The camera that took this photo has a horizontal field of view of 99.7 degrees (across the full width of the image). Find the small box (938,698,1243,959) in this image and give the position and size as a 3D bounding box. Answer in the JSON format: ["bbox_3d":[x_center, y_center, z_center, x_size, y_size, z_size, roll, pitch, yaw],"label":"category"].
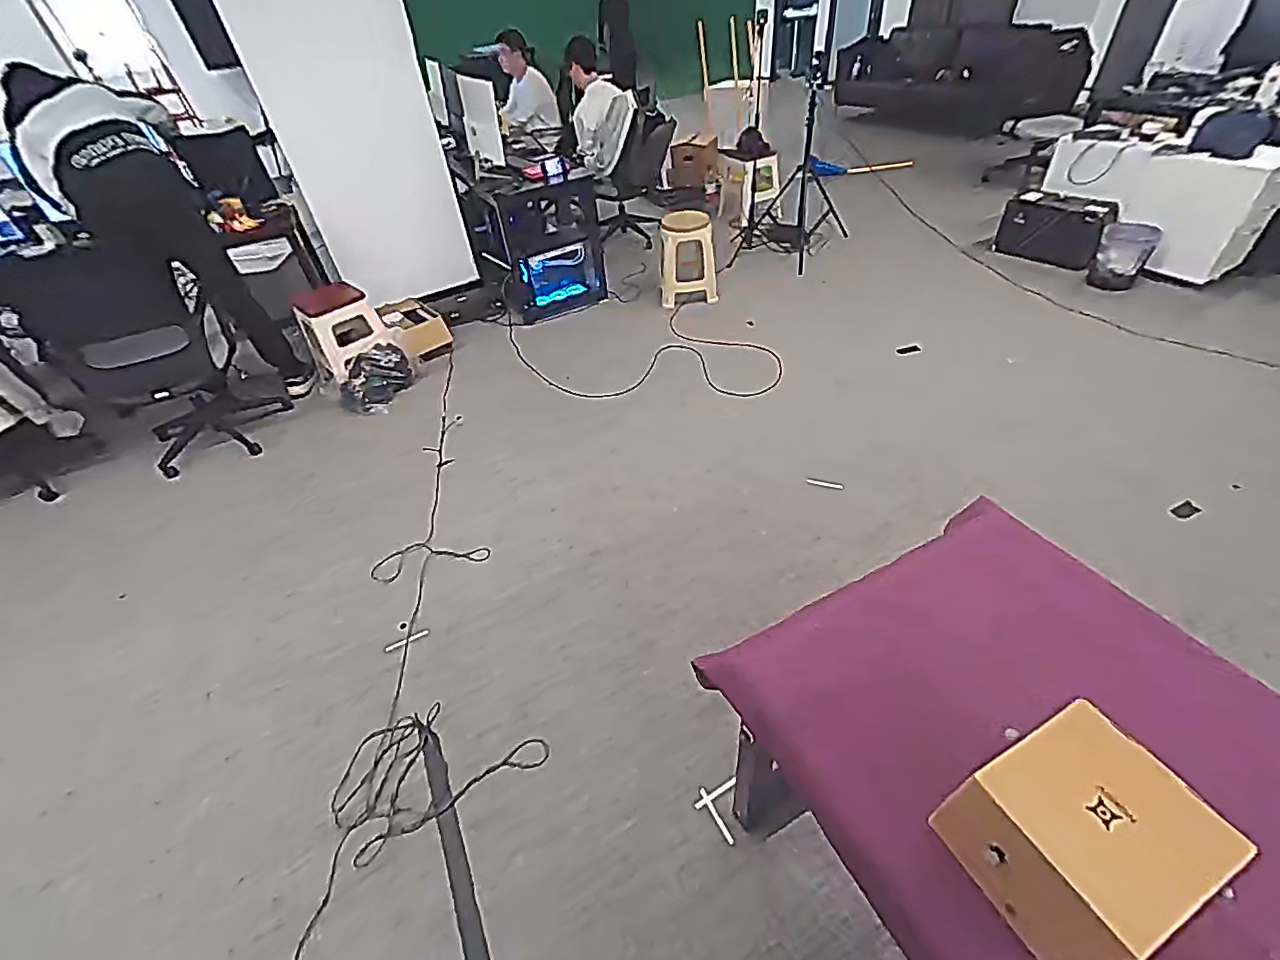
[{"bbox_3d":[0.461,0.382,0.590,0.179,0.176,0.168,-21,45,-17],"label":"small box"}]
